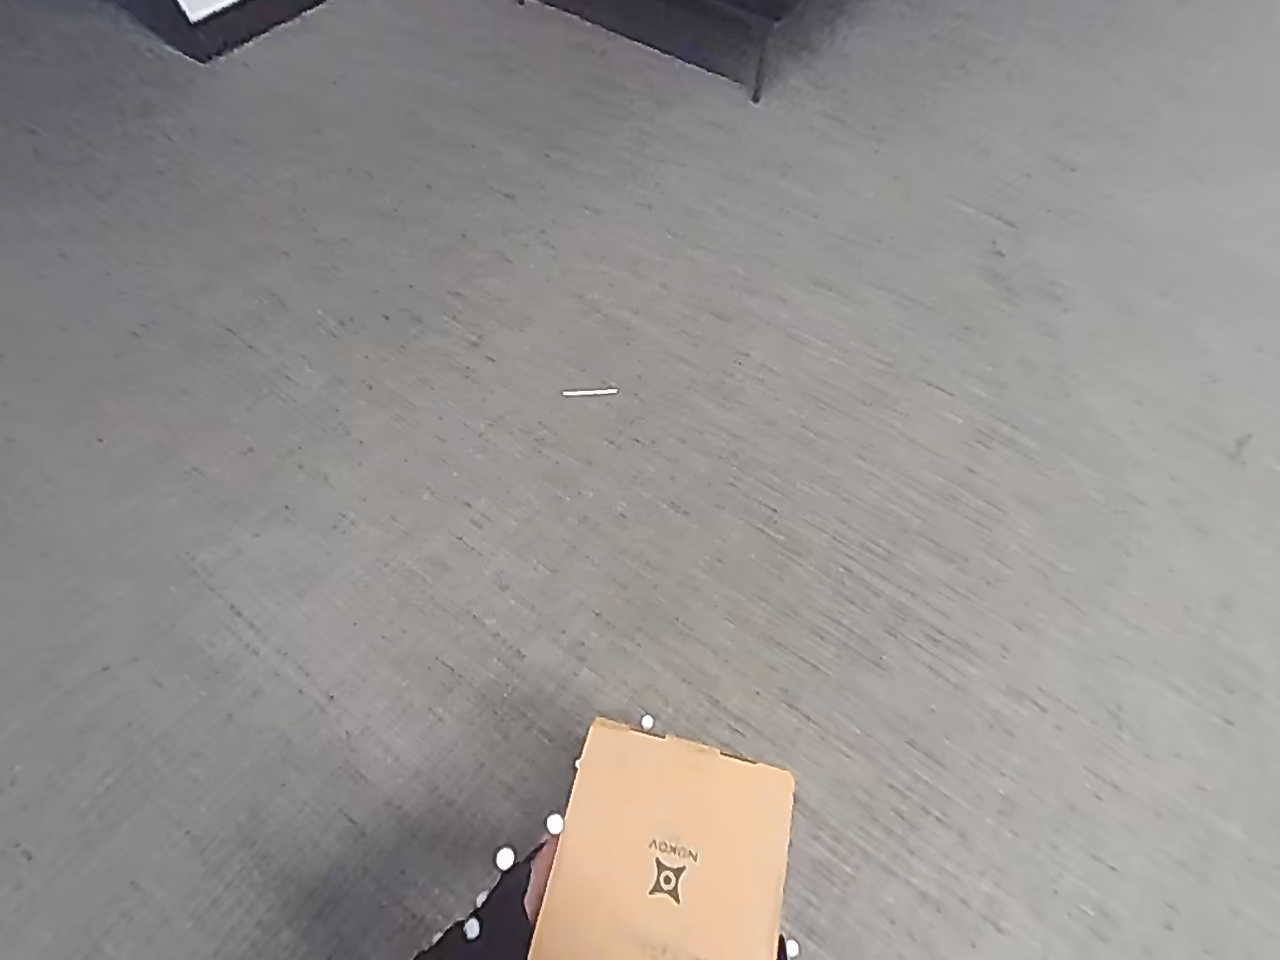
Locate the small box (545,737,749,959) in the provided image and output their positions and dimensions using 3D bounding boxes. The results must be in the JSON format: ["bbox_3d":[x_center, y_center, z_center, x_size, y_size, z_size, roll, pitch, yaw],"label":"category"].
[{"bbox_3d":[0.009,0.398,0.599,0.179,0.176,0.168,12,62,3],"label":"small box"}]
